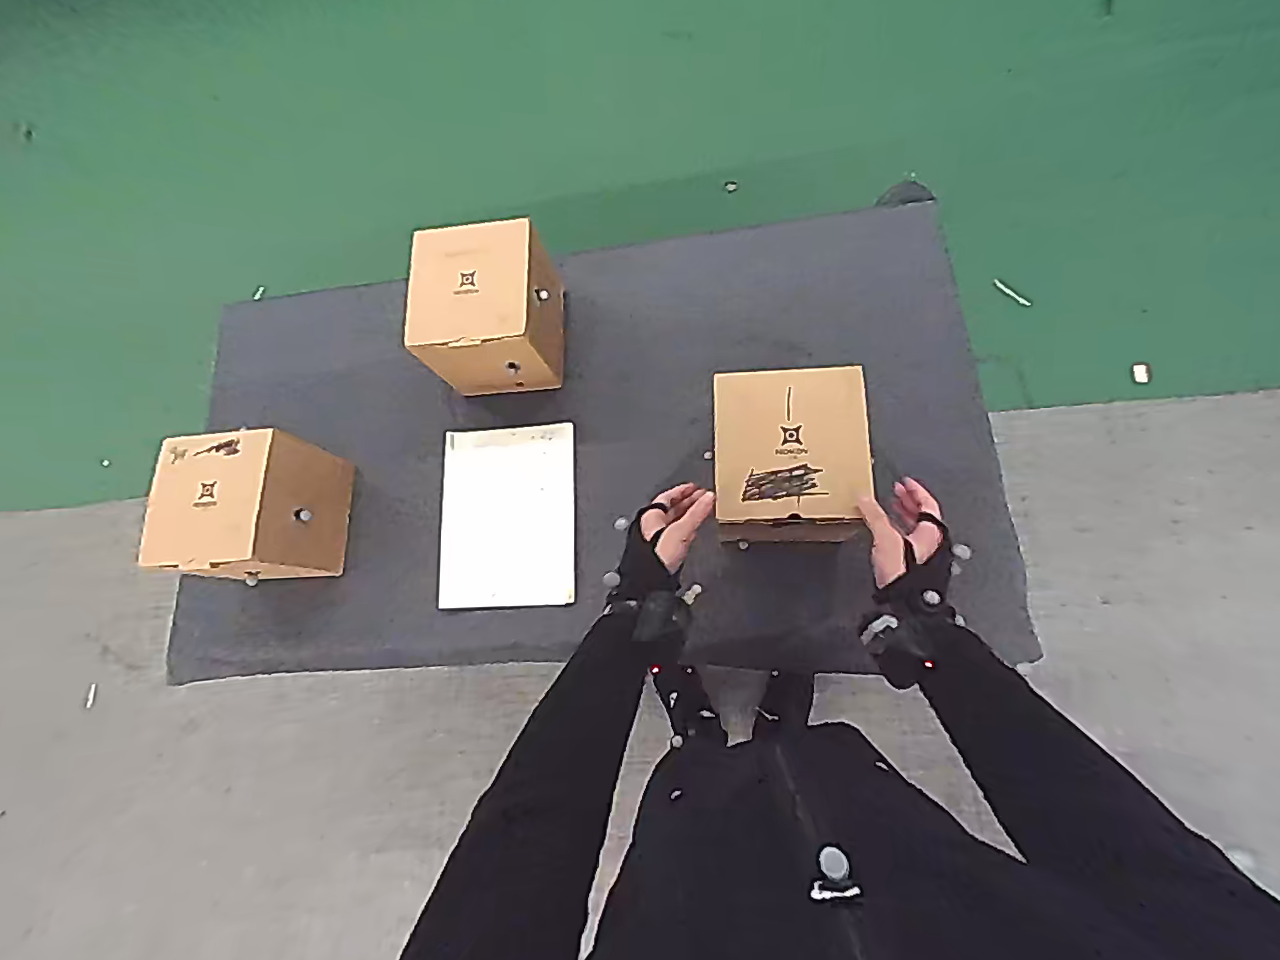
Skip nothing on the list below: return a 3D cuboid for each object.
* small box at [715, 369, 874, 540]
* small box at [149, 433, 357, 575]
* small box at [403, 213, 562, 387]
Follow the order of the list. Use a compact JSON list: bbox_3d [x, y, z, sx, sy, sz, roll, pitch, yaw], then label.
[{"bbox_3d":[0.180,-0.020,0.670,0.168,0.176,0.179,-2,76,9],"label":"small box"},{"bbox_3d":[-0.533,0.044,0.770,0.168,0.176,0.179,-4,76,8],"label":"small box"},{"bbox_3d":[-0.212,-0.241,0.771,0.168,0.176,0.179,-4,76,7],"label":"small box"}]
